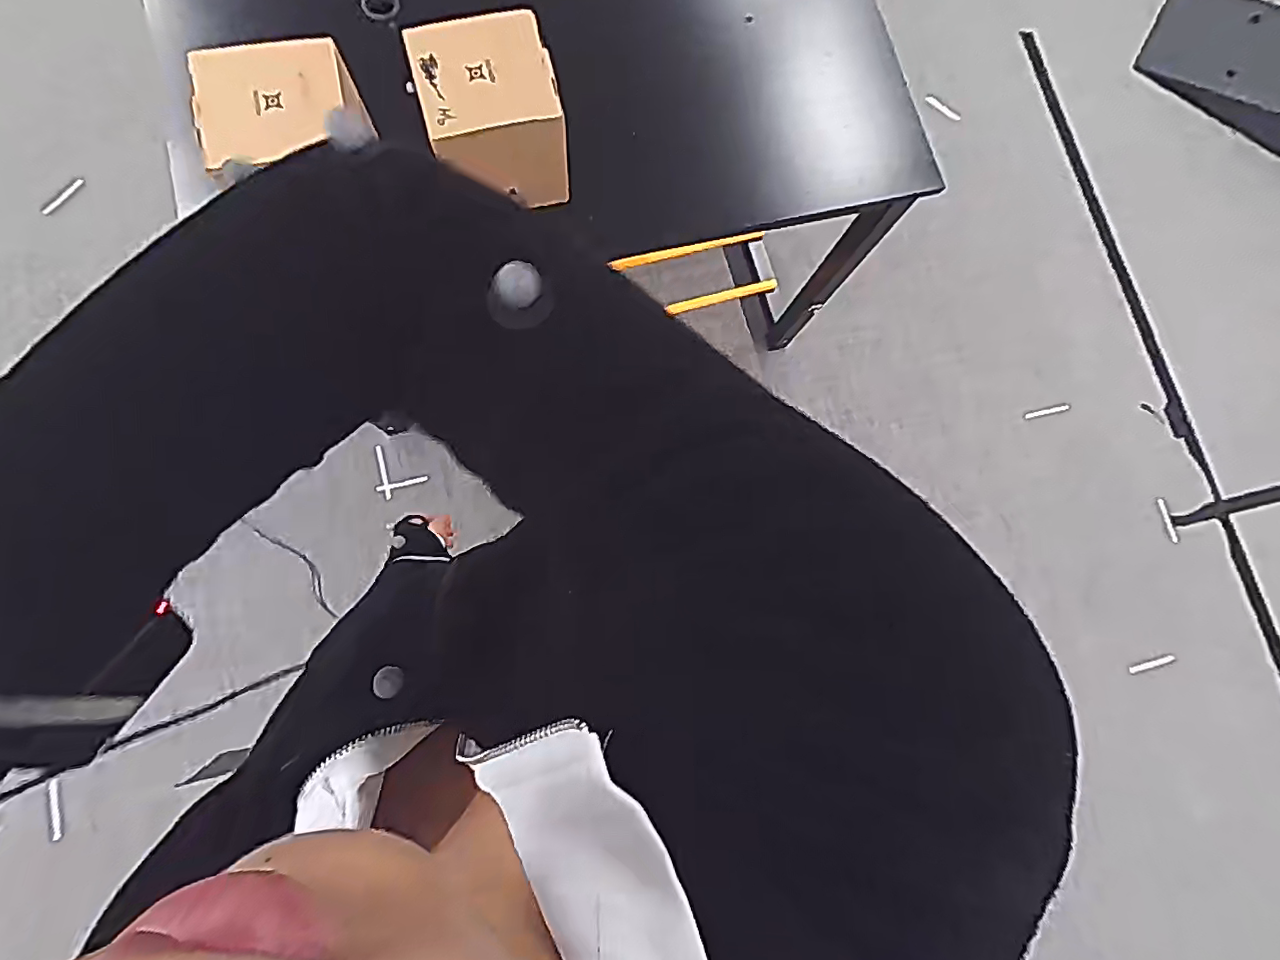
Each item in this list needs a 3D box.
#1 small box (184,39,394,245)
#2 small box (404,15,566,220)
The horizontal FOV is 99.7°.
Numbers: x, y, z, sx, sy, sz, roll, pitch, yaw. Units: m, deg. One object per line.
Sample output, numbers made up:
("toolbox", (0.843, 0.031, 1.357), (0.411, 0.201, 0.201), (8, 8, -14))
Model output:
("small box", (-0.465, -0.448, 0.741), (0.179, 0.176, 0.168), (-13, 83, -9))
("small box", (-0.210, -0.507, 0.775), (0.179, 0.176, 0.168), (-15, 82, -9))
